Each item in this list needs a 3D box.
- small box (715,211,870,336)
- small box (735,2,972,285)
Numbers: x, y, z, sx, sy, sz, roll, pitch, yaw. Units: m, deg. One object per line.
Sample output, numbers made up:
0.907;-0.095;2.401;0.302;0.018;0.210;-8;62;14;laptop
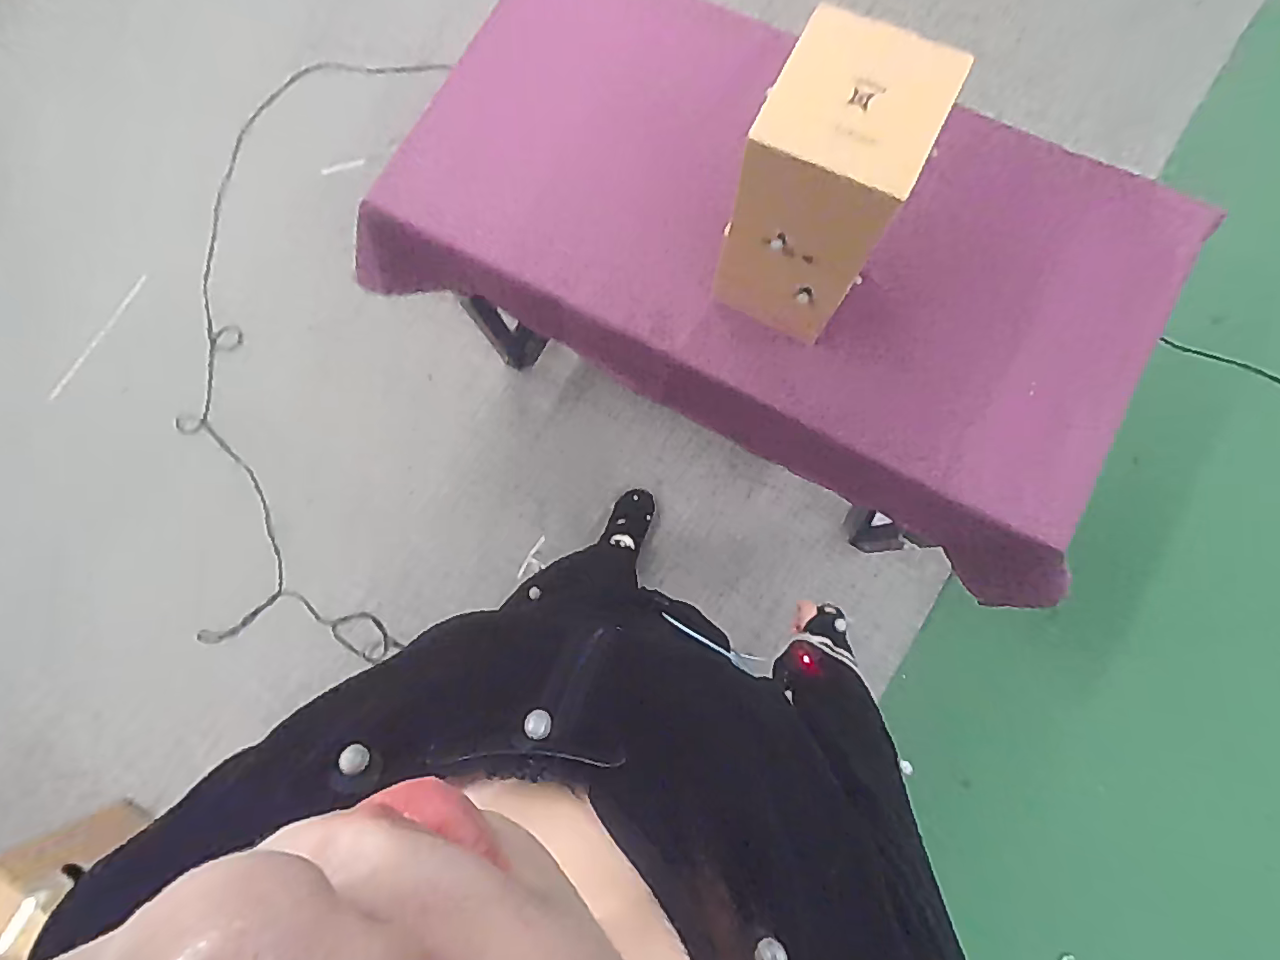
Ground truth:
0.225;-0.330;0.767;0.179;0.176;0.168;28;82;6;small box
0.219;-0.359;0.606;0.168;0.176;0.179;27;83;7;small box
